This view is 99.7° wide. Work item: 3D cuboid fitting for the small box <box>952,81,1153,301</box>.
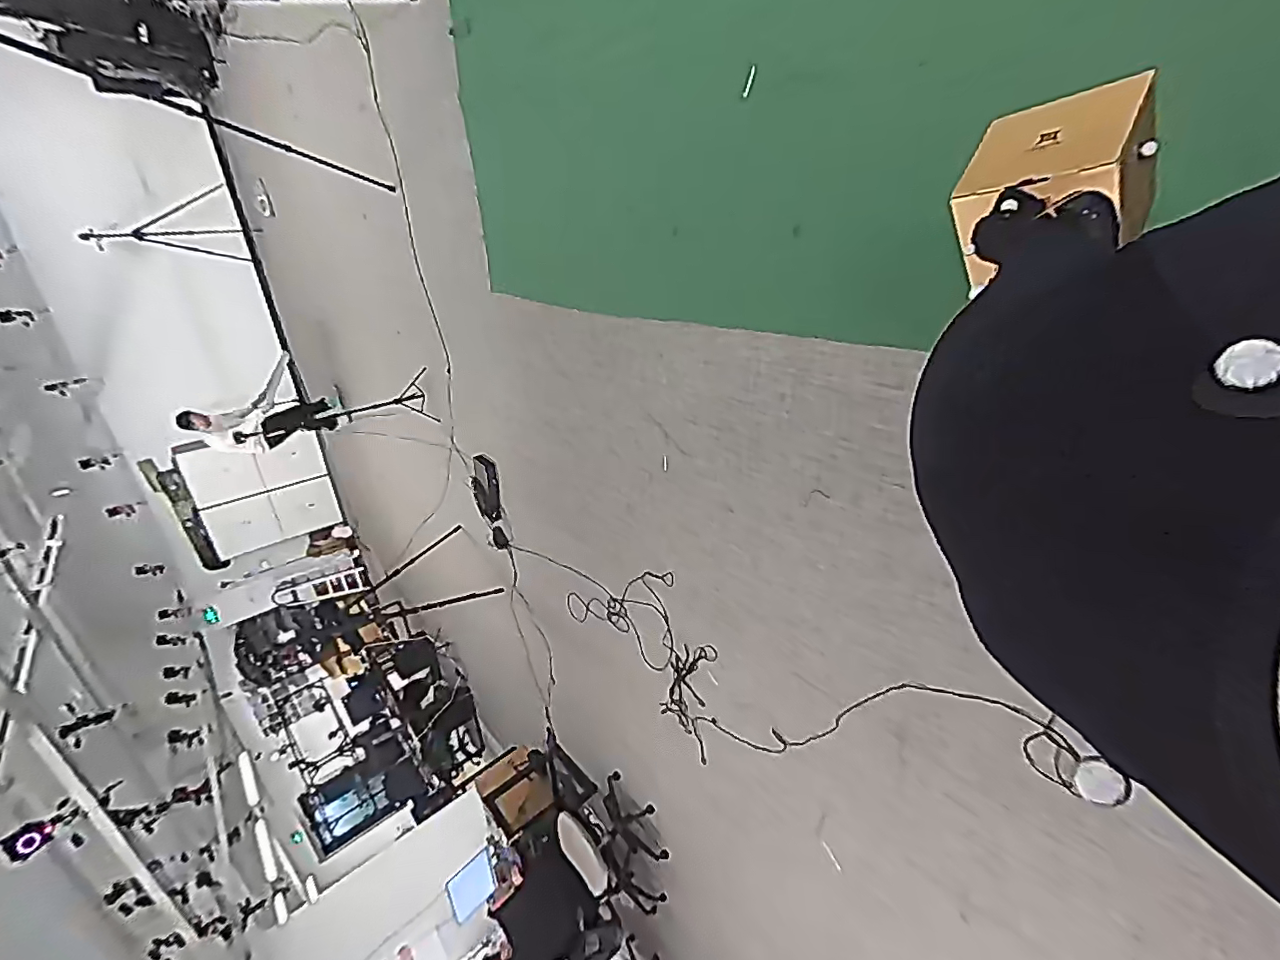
[{"bbox_3d":[0.544,-0.364,0.713,0.168,0.179,0.176,12,153,49],"label":"small box"}]
